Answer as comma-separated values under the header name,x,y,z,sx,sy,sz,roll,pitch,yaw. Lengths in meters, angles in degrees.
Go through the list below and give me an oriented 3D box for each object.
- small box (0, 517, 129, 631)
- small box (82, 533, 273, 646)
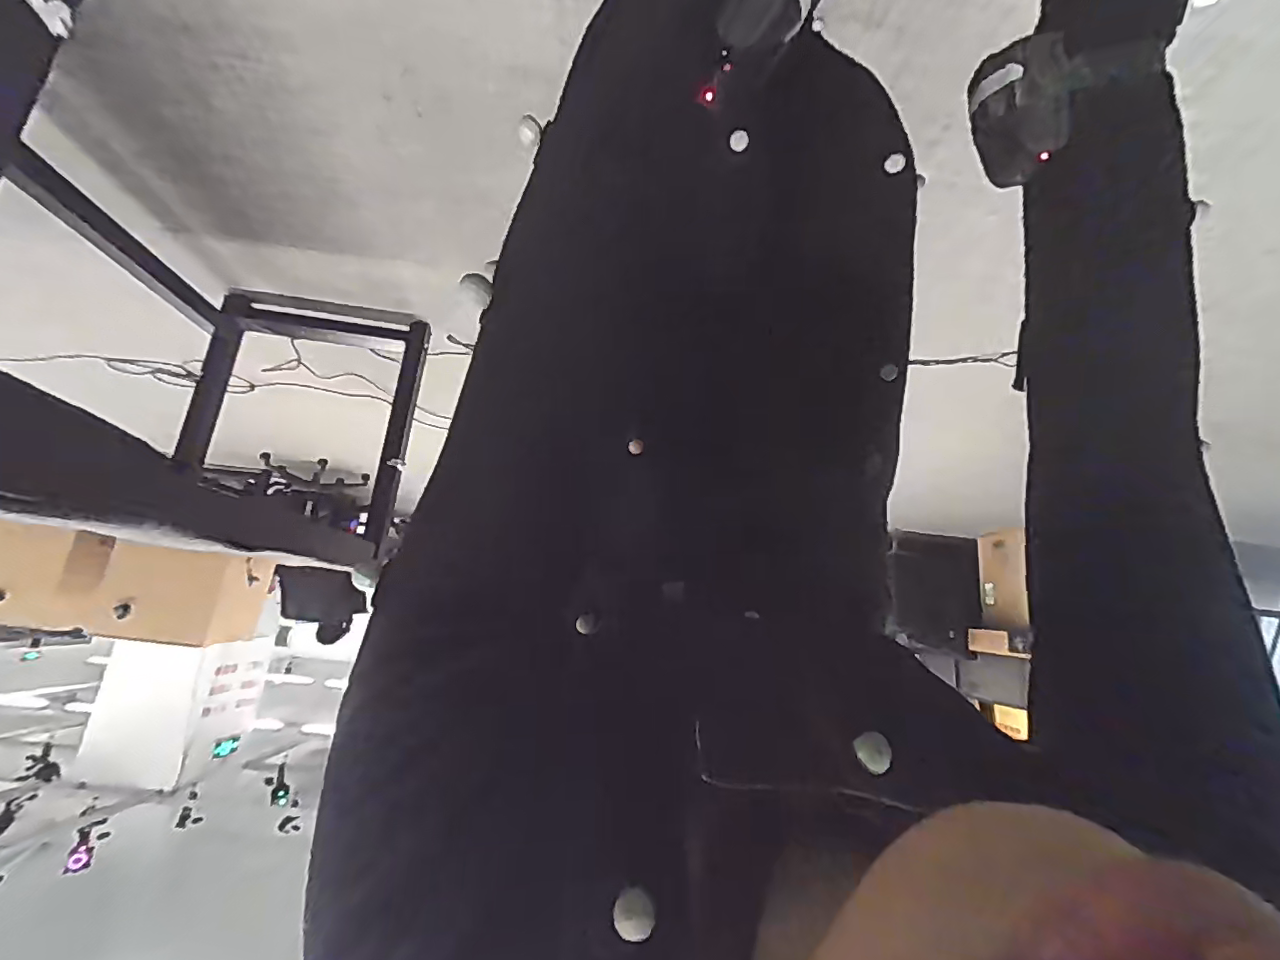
name,x,y,z,sx,sy,sz,roll,pitch,yaw
small box,-1.014,0.156,0.913,0.179,0.176,0.168,8,166,-9
small box,-0.790,0.190,0.948,0.179,0.176,0.168,9,166,-8
